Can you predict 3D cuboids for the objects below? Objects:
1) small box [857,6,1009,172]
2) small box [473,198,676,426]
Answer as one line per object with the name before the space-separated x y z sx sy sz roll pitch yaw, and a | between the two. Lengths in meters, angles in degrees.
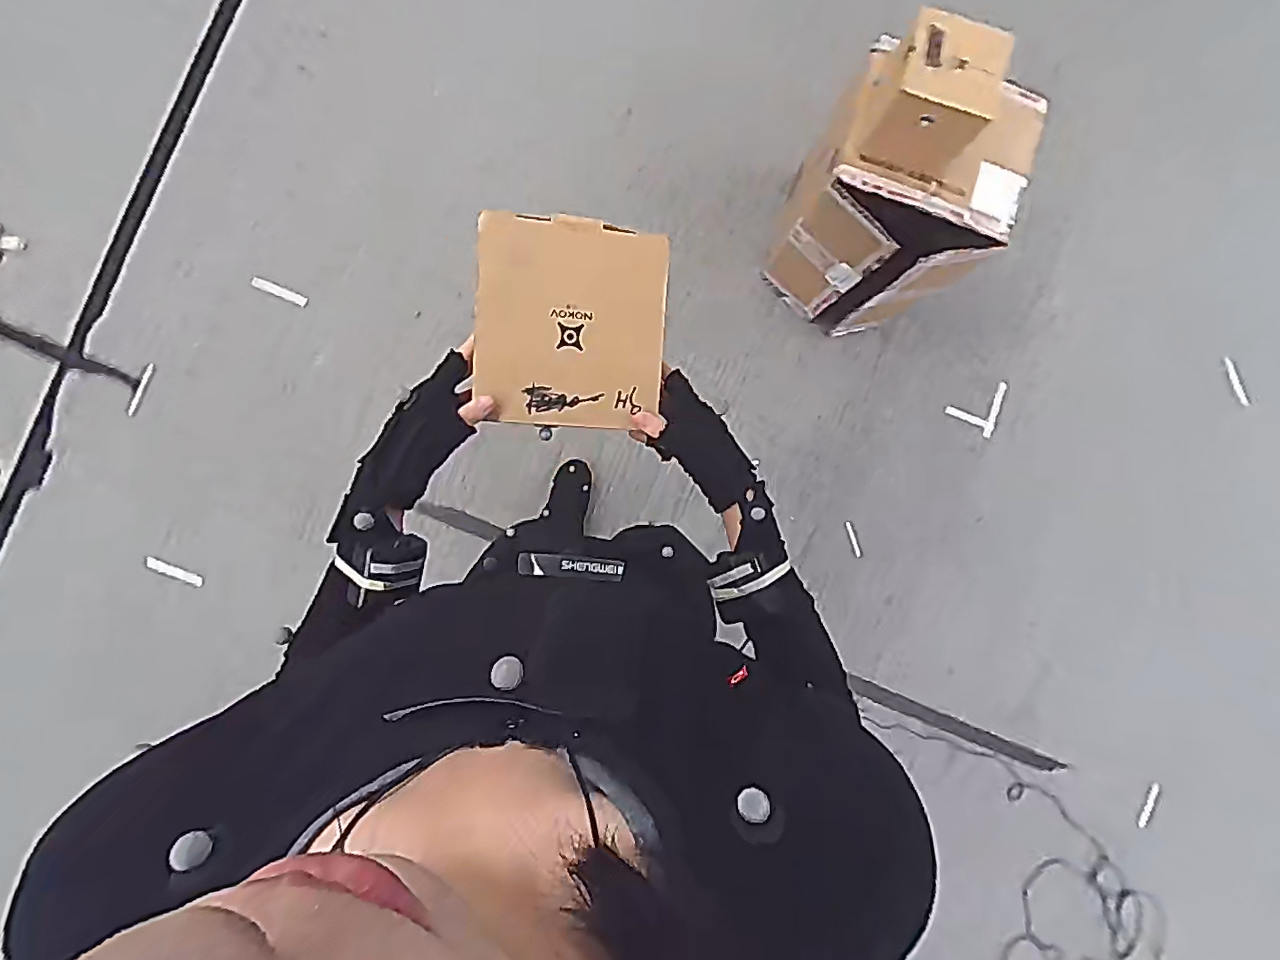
small box | 0.537 -0.718 1.014 0.179 0.176 0.168 16 86 -3
small box | -0.070 -0.149 0.543 0.168 0.176 0.179 4 96 -11
